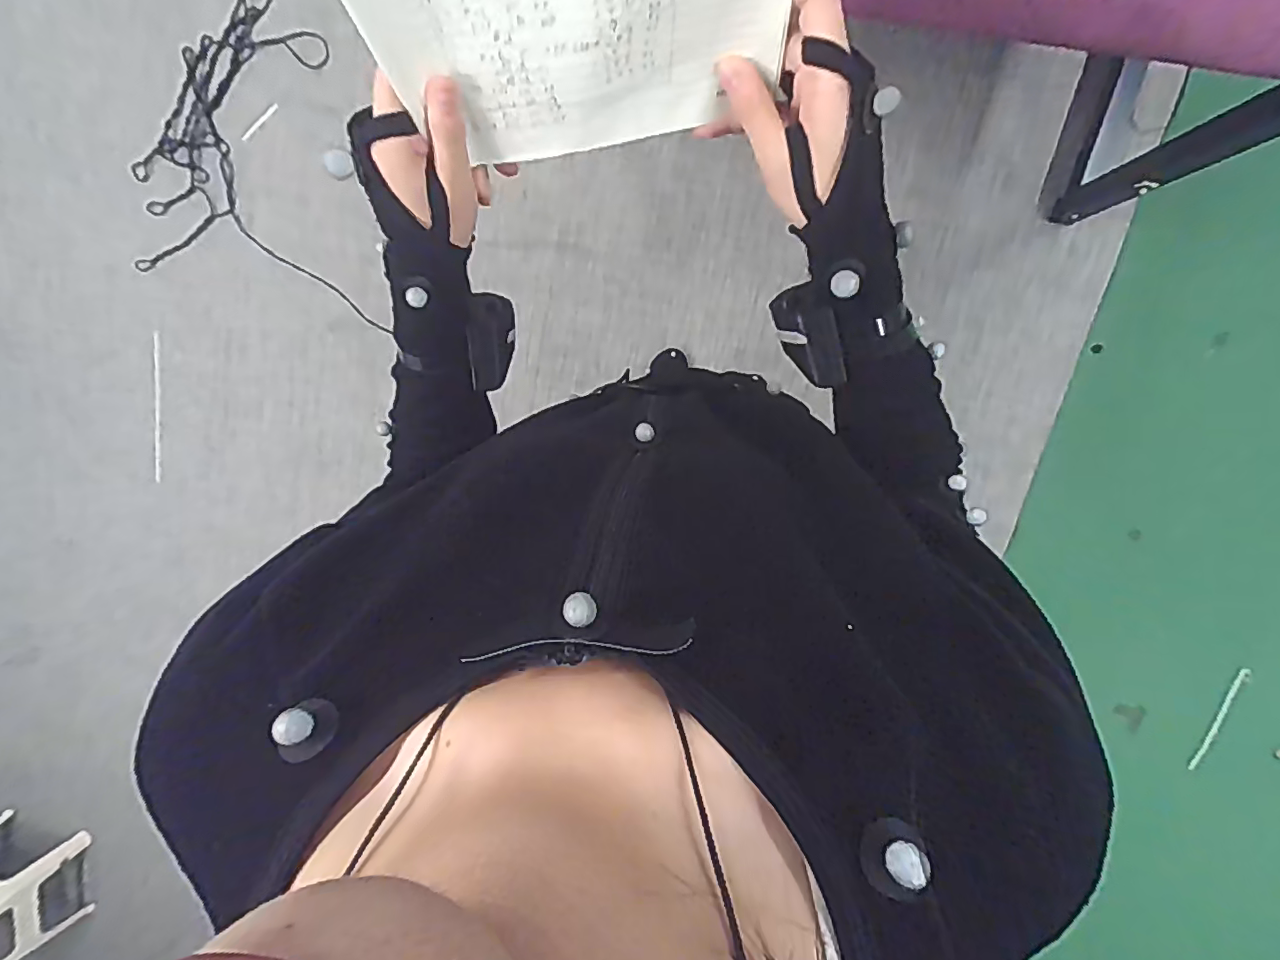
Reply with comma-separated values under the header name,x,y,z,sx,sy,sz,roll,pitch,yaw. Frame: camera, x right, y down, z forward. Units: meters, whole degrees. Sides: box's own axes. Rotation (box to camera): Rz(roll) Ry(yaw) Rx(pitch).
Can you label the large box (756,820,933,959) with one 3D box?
name,x,y,z,sx,sy,sz,roll,pitch,yaw
large box,0.549,1.221,1.531,0.408,0.320,0.320,-1,102,6
